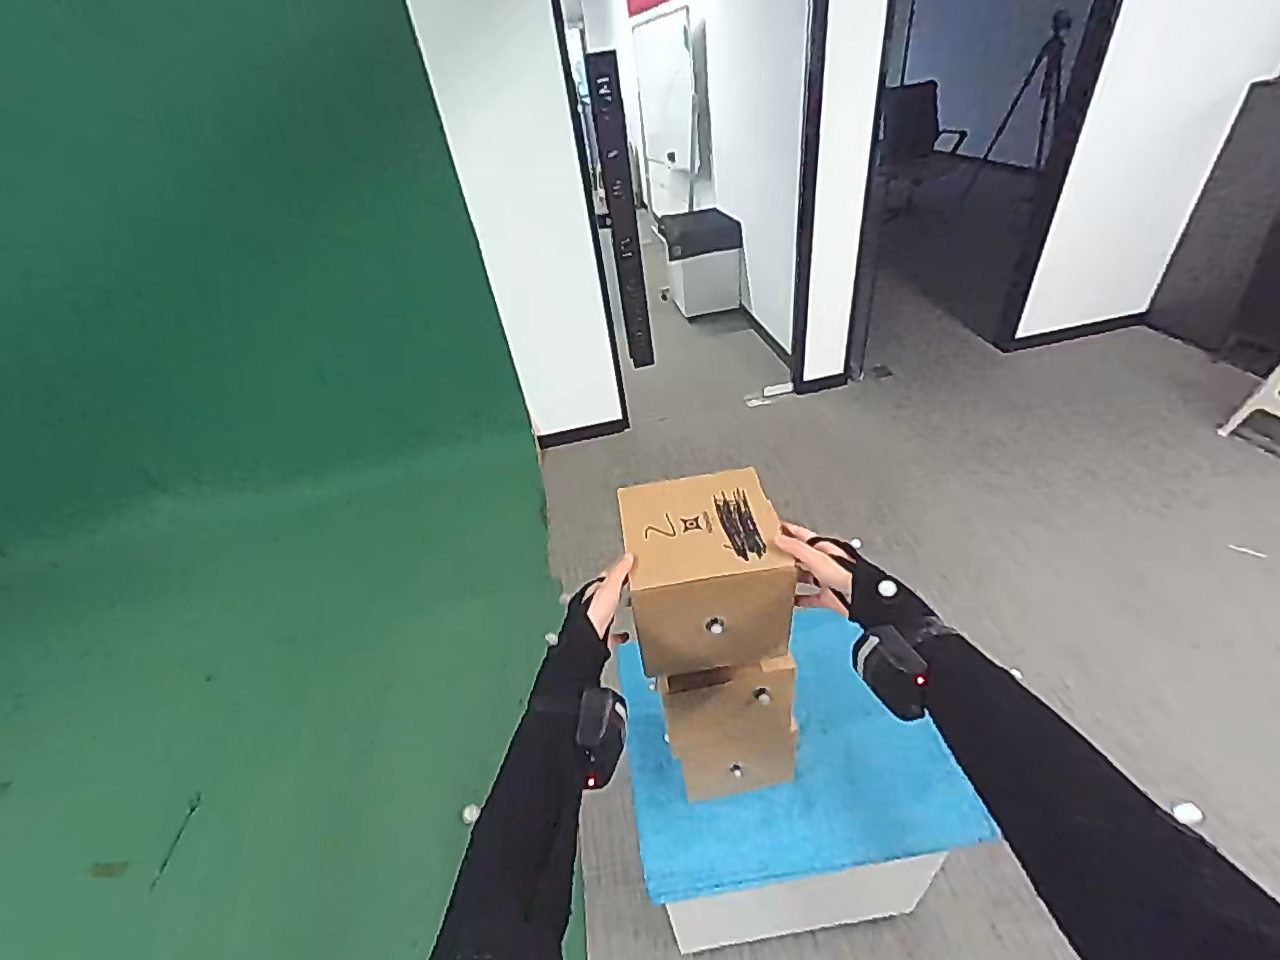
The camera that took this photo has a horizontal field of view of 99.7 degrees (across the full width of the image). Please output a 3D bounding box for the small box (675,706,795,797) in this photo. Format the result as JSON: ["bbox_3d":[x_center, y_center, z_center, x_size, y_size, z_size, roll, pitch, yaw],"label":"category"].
[{"bbox_3d":[0.136,0.383,0.879,0.179,0.176,0.168,-11,37,-2],"label":"small box"}]

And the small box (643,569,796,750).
[{"bbox_3d":[0.107,0.257,0.776,0.179,0.176,0.168,-11,37,-2],"label":"small box"}]
